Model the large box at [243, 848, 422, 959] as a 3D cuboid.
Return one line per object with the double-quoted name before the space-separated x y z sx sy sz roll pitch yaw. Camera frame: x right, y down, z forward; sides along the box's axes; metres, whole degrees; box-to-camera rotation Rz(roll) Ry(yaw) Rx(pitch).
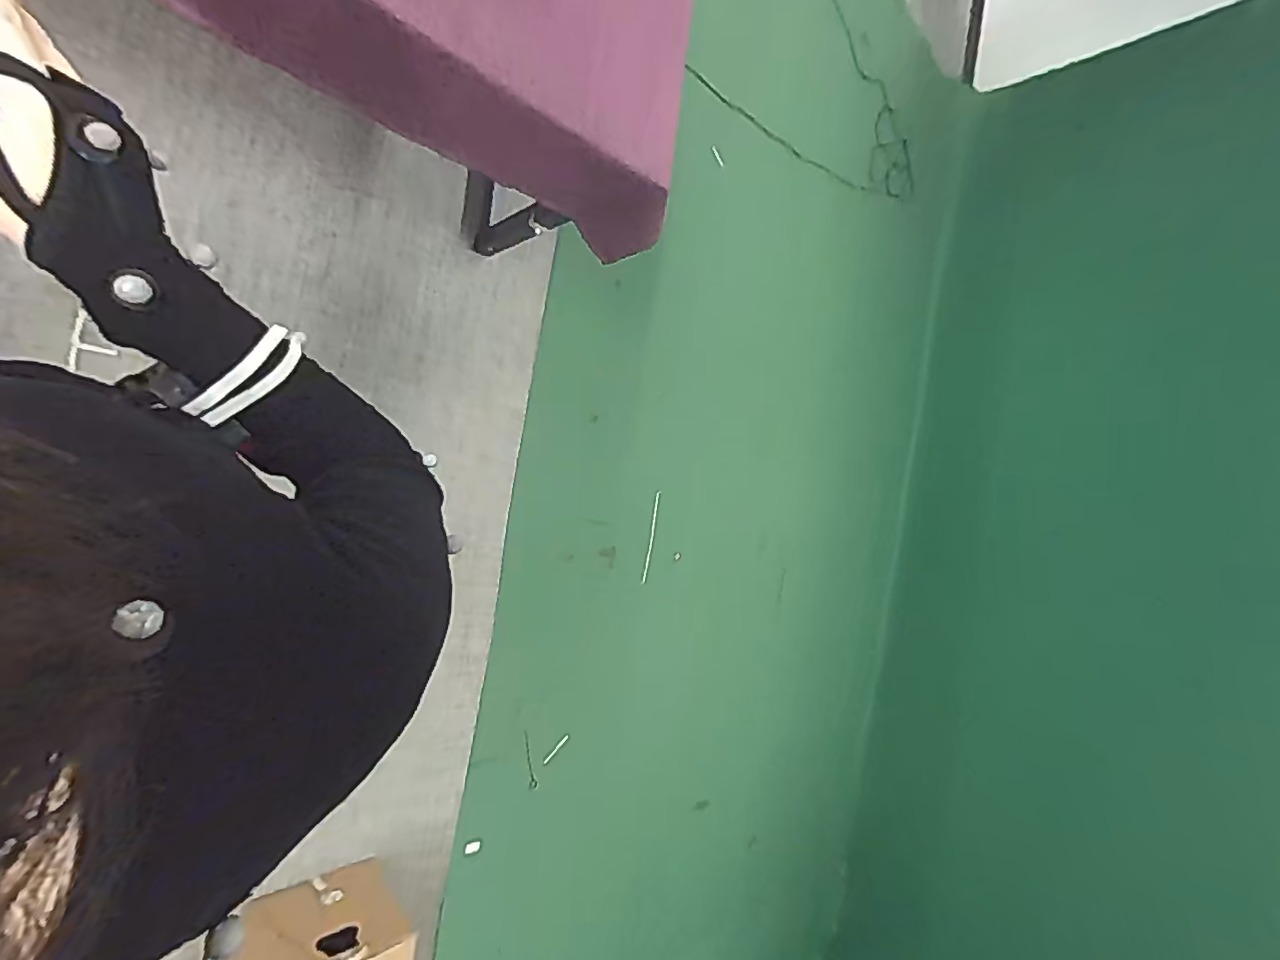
"large box" -0.777 1.244 1.337 0.320 0.320 0.408 8 91 -44
